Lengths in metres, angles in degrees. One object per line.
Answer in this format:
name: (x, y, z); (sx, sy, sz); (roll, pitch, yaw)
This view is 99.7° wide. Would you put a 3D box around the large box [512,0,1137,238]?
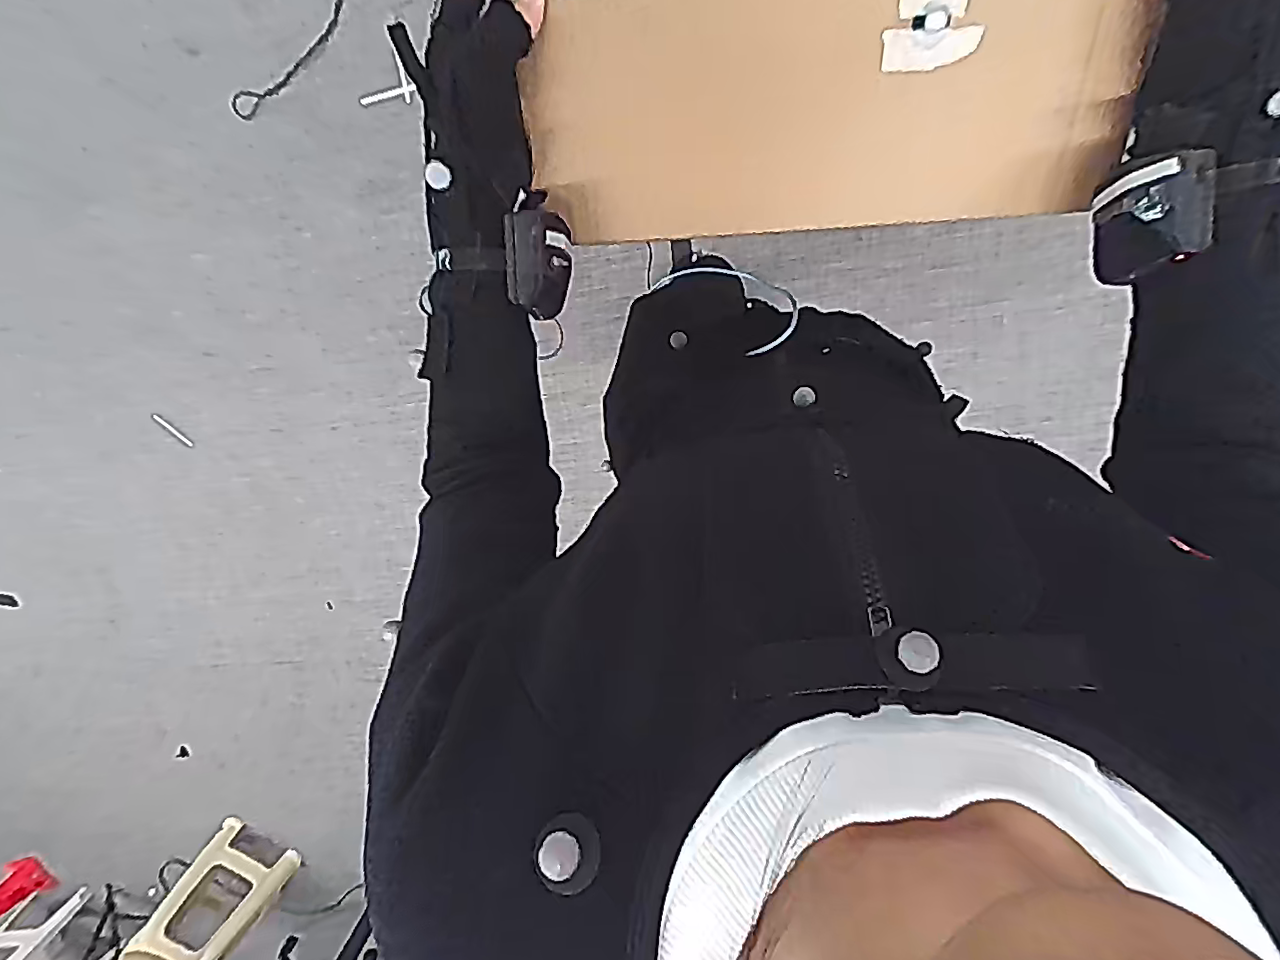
large box: (0.117, -0.401, 0.467); (0.408, 0.320, 0.320); (-2, 118, 4)
